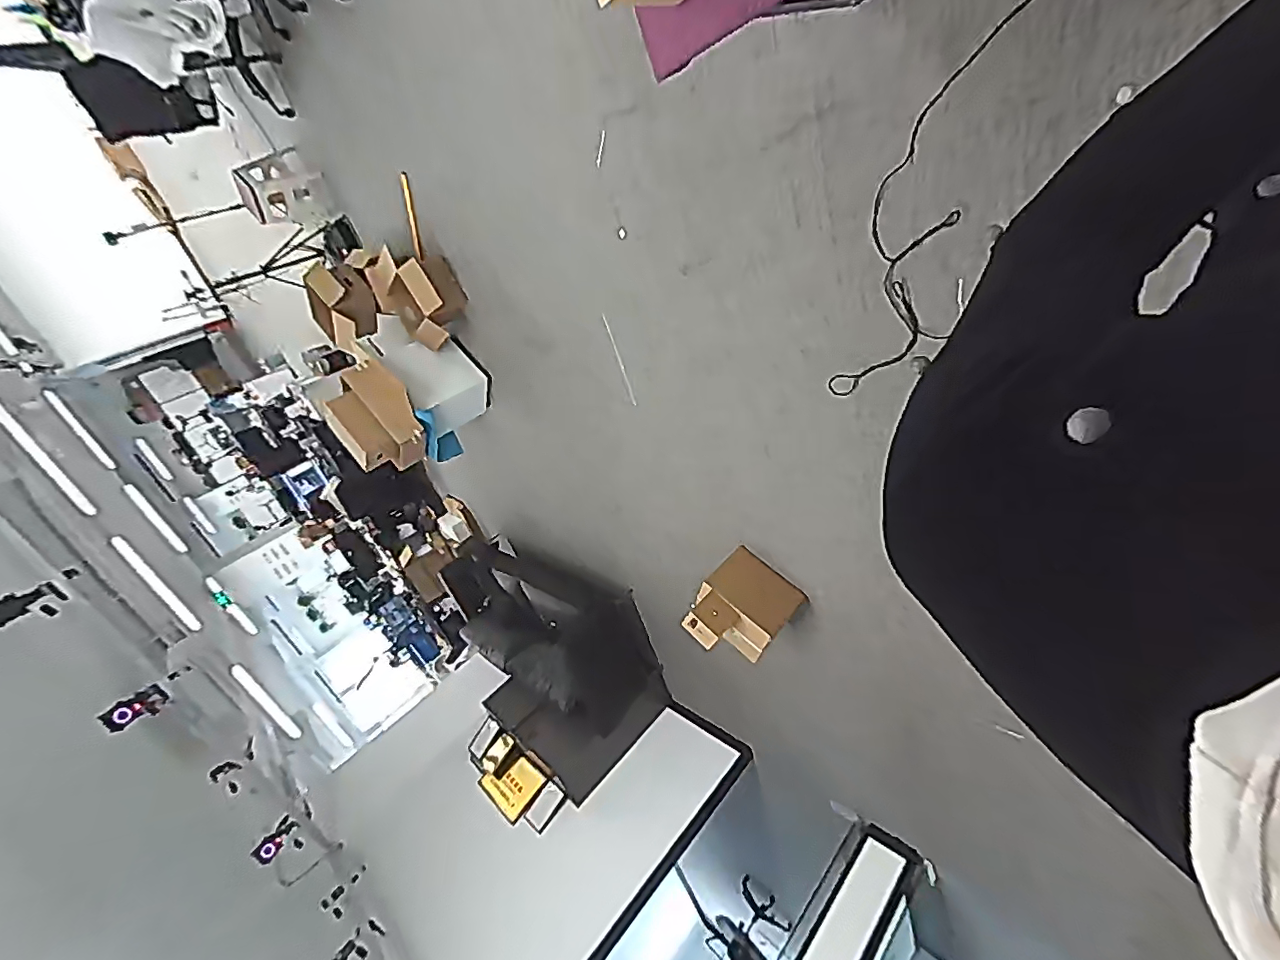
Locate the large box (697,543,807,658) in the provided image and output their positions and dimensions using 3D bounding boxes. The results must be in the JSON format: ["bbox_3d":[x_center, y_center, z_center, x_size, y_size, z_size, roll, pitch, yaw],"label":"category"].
[{"bbox_3d":[0.552,0.598,2.716,0.408,0.320,0.320,37,147,22],"label":"large box"}]

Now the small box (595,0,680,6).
[{"bbox_3d":[0.023,-0.777,0.719,0.168,0.176,0.179,10,128,49],"label":"small box"}]
